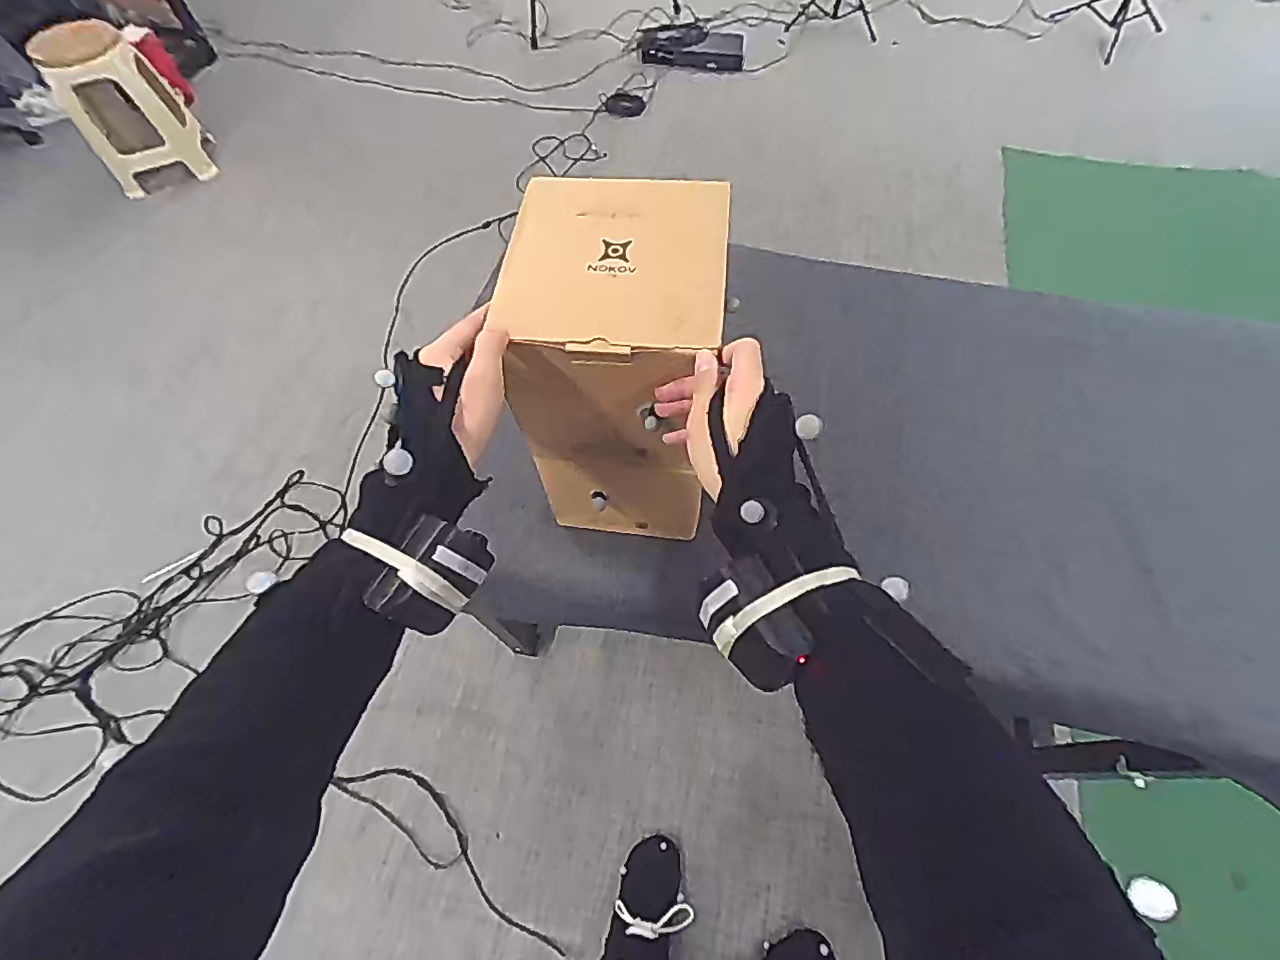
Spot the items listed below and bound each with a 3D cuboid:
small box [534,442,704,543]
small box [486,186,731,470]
[{"bbox_3d":[-0.008,-0.042,0.620,0.168,0.176,0.179,7,60,5],"label":"small box"},{"bbox_3d":[-0.014,-0.123,0.473,0.168,0.176,0.179,5,62,4],"label":"small box"}]
